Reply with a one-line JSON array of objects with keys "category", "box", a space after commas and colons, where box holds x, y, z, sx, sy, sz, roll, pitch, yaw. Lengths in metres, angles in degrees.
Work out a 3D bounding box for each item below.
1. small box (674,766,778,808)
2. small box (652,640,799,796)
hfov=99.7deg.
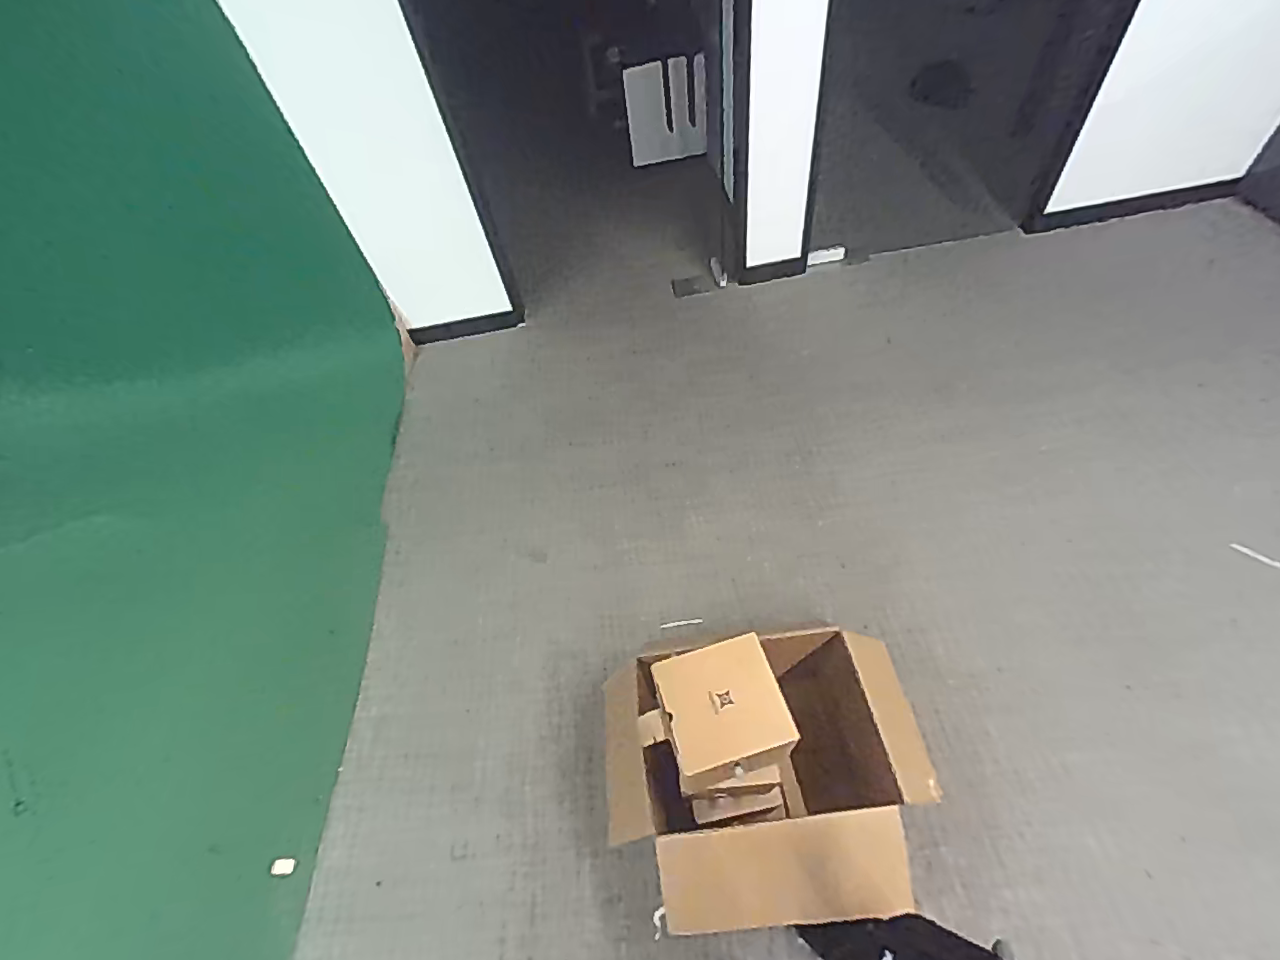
[{"category": "small box", "box": [0.143, 0.485, 0.985, 0.168, 0.176, 0.179, -5, 54, 2]}, {"category": "small box", "box": [0.127, 0.381, 0.861, 0.179, 0.176, 0.168, -16, 53, -5]}]
